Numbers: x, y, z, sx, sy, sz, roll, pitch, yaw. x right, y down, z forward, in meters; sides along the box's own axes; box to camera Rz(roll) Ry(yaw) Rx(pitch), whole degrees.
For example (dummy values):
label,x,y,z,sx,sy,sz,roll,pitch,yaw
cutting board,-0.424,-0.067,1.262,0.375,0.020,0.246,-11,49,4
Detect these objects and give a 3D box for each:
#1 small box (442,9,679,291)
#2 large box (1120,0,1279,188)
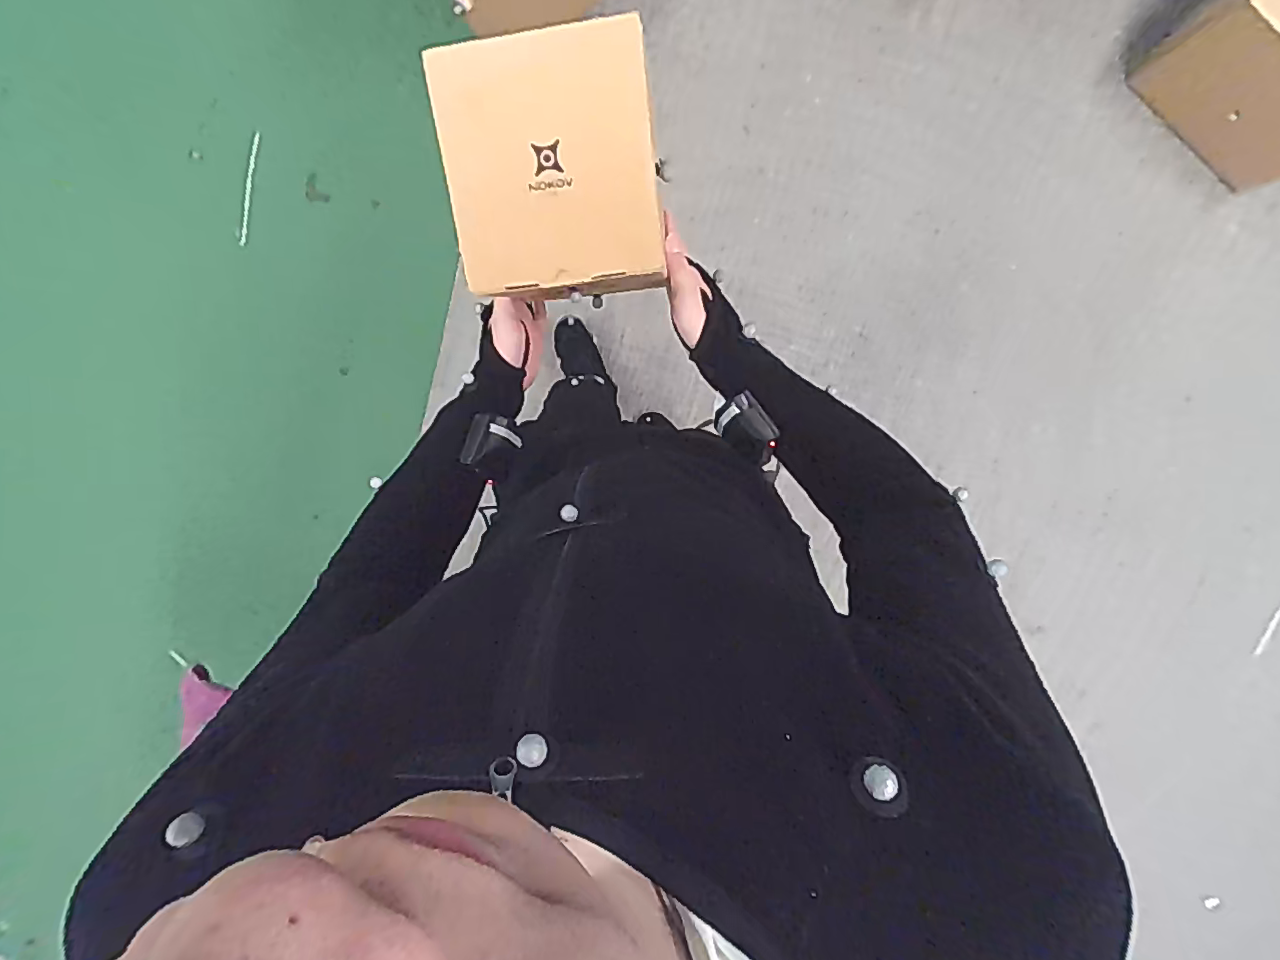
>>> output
label,x,y,z,sx,sy,sz,roll,pitch,yaw
small box,-0.054,-0.272,0.491,0.168,0.176,0.179,-5,108,5
large box,1.399,-0.924,1.156,0.408,0.320,0.320,41,102,-2
